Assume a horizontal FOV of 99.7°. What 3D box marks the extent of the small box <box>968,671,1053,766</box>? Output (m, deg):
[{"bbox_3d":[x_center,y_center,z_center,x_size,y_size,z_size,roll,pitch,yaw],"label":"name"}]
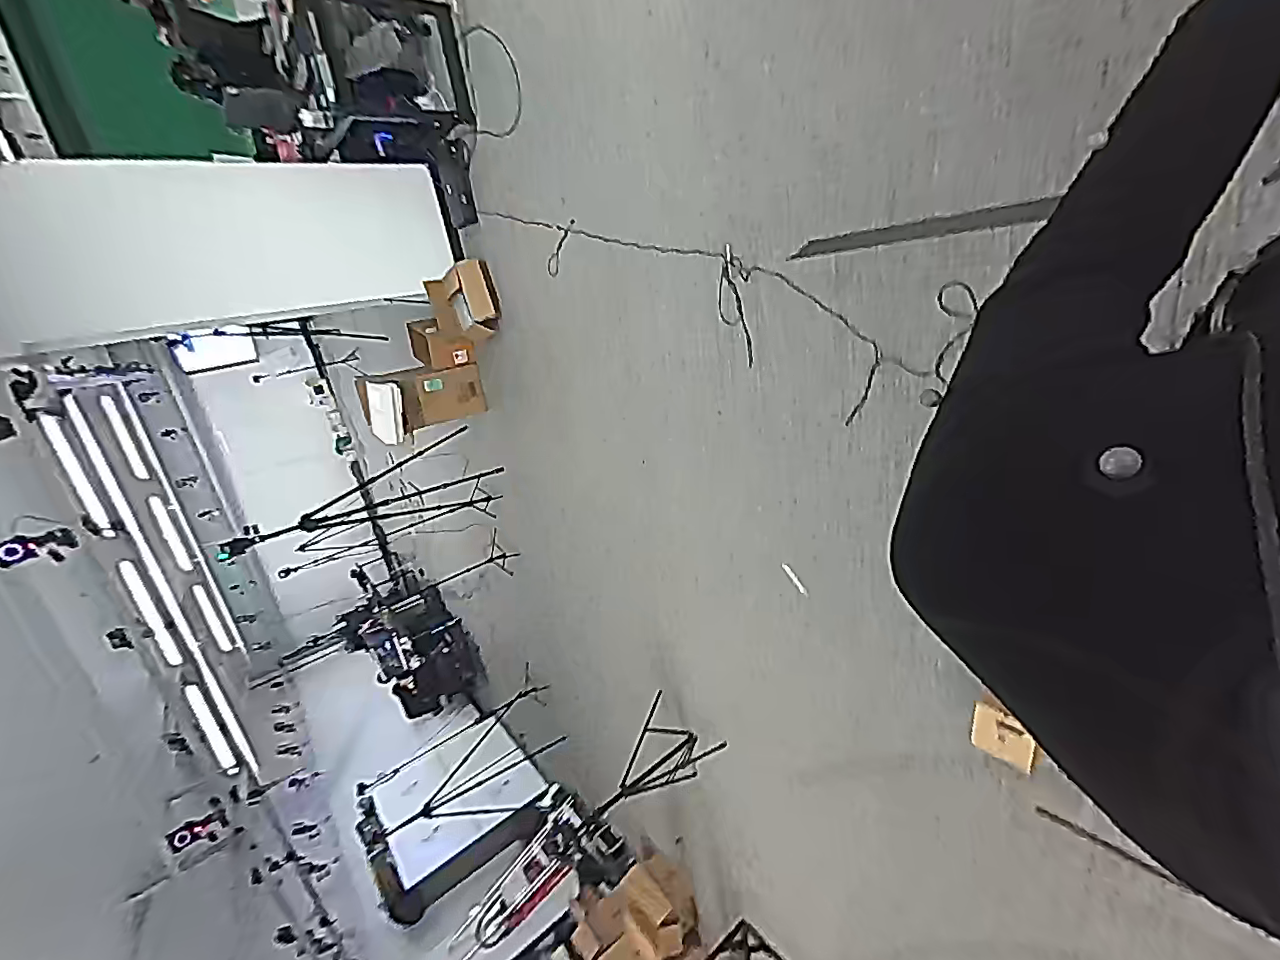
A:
[{"bbox_3d":[1.153,0.732,1.681,0.168,0.176,0.179,21,126,49],"label":"small box"}]
